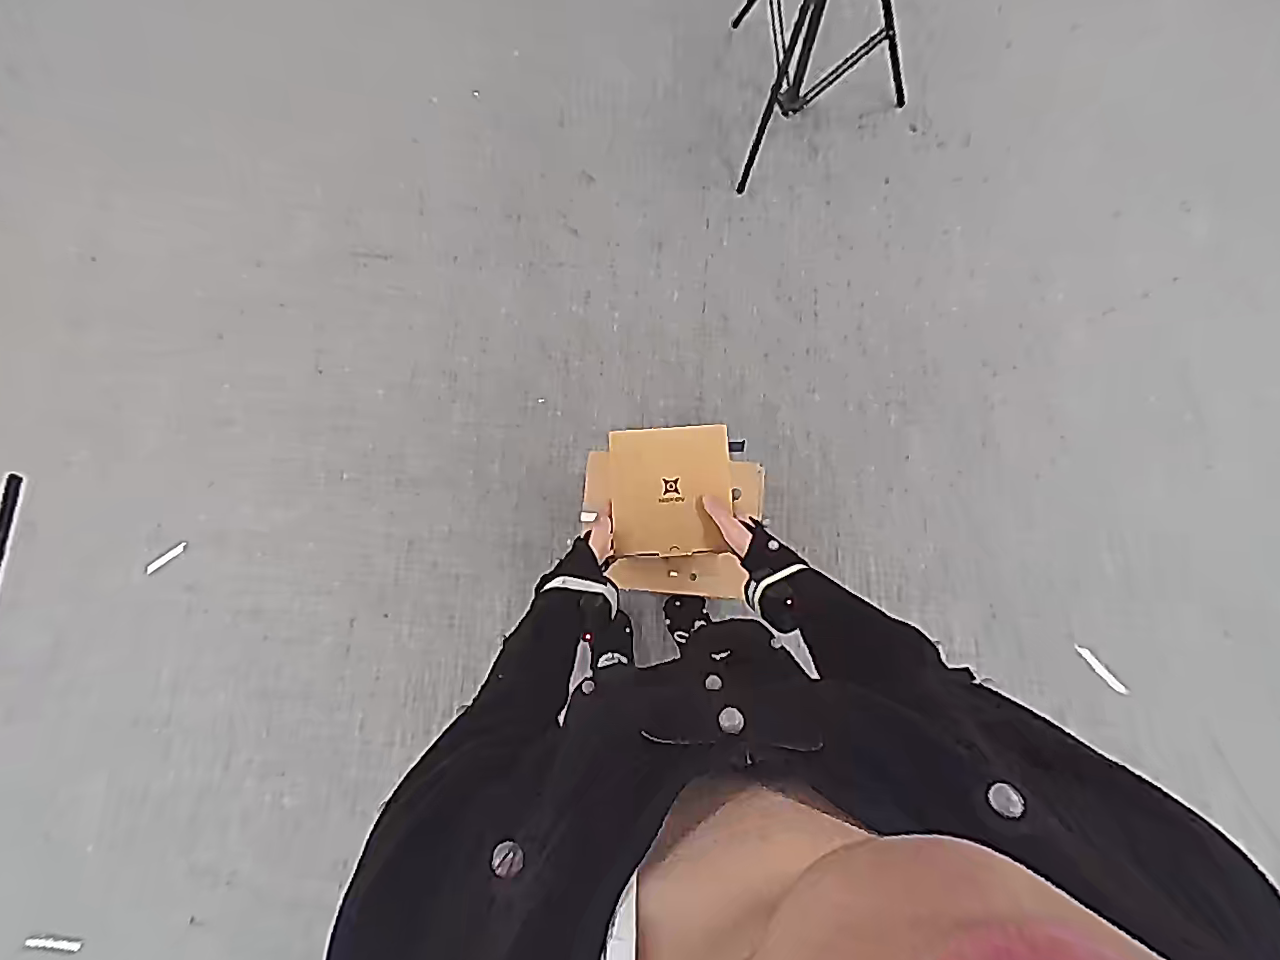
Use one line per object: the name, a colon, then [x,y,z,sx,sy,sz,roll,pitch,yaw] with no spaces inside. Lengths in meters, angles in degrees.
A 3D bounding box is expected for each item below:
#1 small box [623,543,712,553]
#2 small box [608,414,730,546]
small box: [0.056,0.070,1.141,0.179,0.176,0.168,0,83,0]
small box: [0.040,0.008,0.818,0.168,0.176,0.179,-3,82,1]
